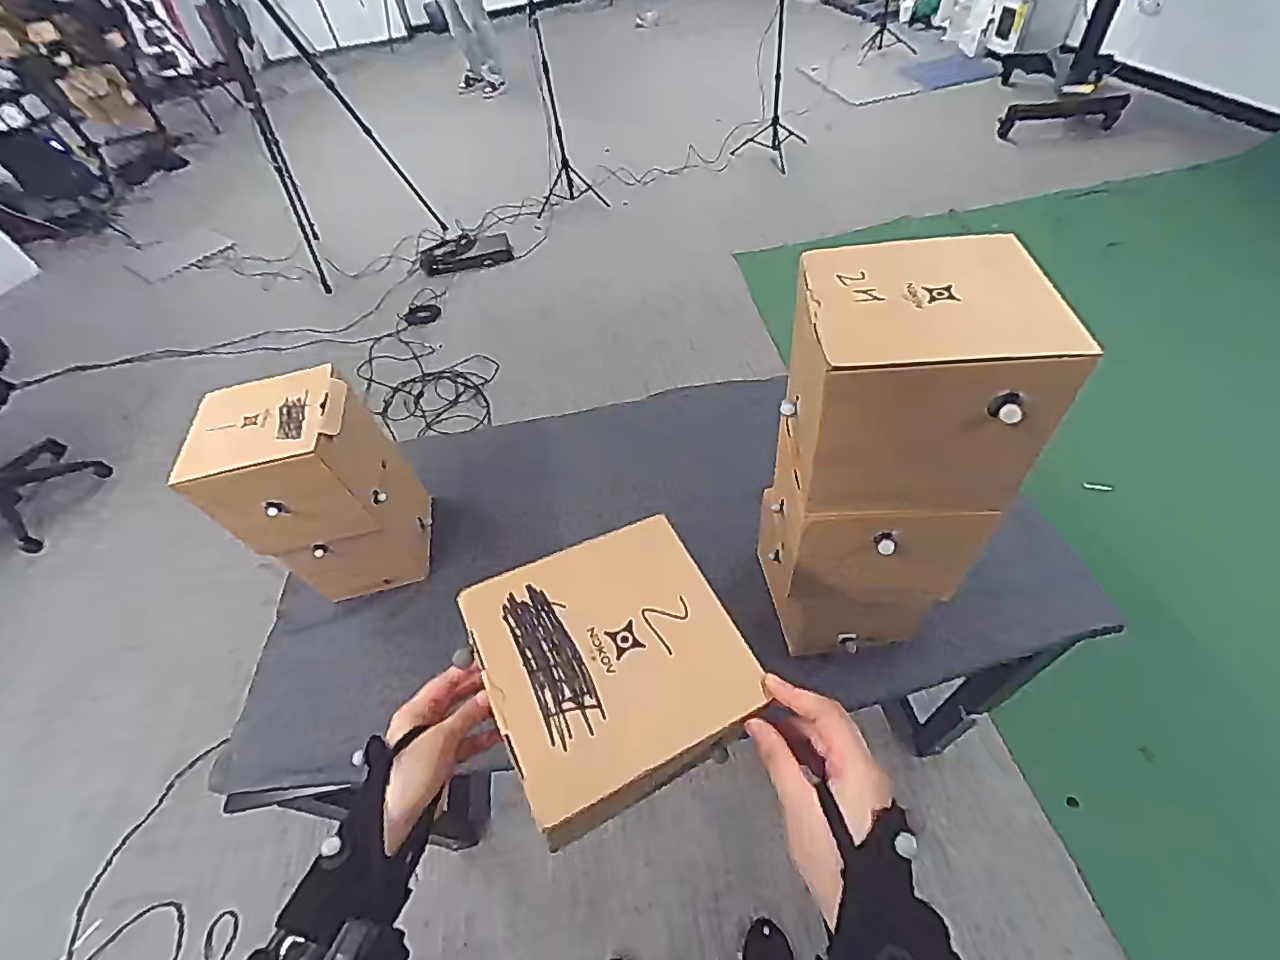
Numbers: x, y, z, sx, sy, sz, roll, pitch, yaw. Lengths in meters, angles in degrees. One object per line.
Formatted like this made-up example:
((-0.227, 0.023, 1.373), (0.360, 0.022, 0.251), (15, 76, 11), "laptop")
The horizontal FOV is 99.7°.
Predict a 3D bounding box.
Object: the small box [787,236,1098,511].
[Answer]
((0.229, -0.085, 0.471), (0.179, 0.176, 0.168), (-2, 49, 9), "small box")

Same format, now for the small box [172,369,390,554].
((-0.467, -0.021, 0.741), (0.179, 0.176, 0.168), (-14, 52, -2), "small box")

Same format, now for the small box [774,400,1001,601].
((0.248, 0.022, 0.595), (0.179, 0.176, 0.168), (-3, 49, 8), "small box")

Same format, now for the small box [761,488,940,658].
((0.266, 0.115, 0.728), (0.168, 0.176, 0.179), (-11, 50, 1), "small box")

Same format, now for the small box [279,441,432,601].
((-0.452, 0.069, 0.879), (0.168, 0.176, 0.179), (-14, 51, -3), "small box")
